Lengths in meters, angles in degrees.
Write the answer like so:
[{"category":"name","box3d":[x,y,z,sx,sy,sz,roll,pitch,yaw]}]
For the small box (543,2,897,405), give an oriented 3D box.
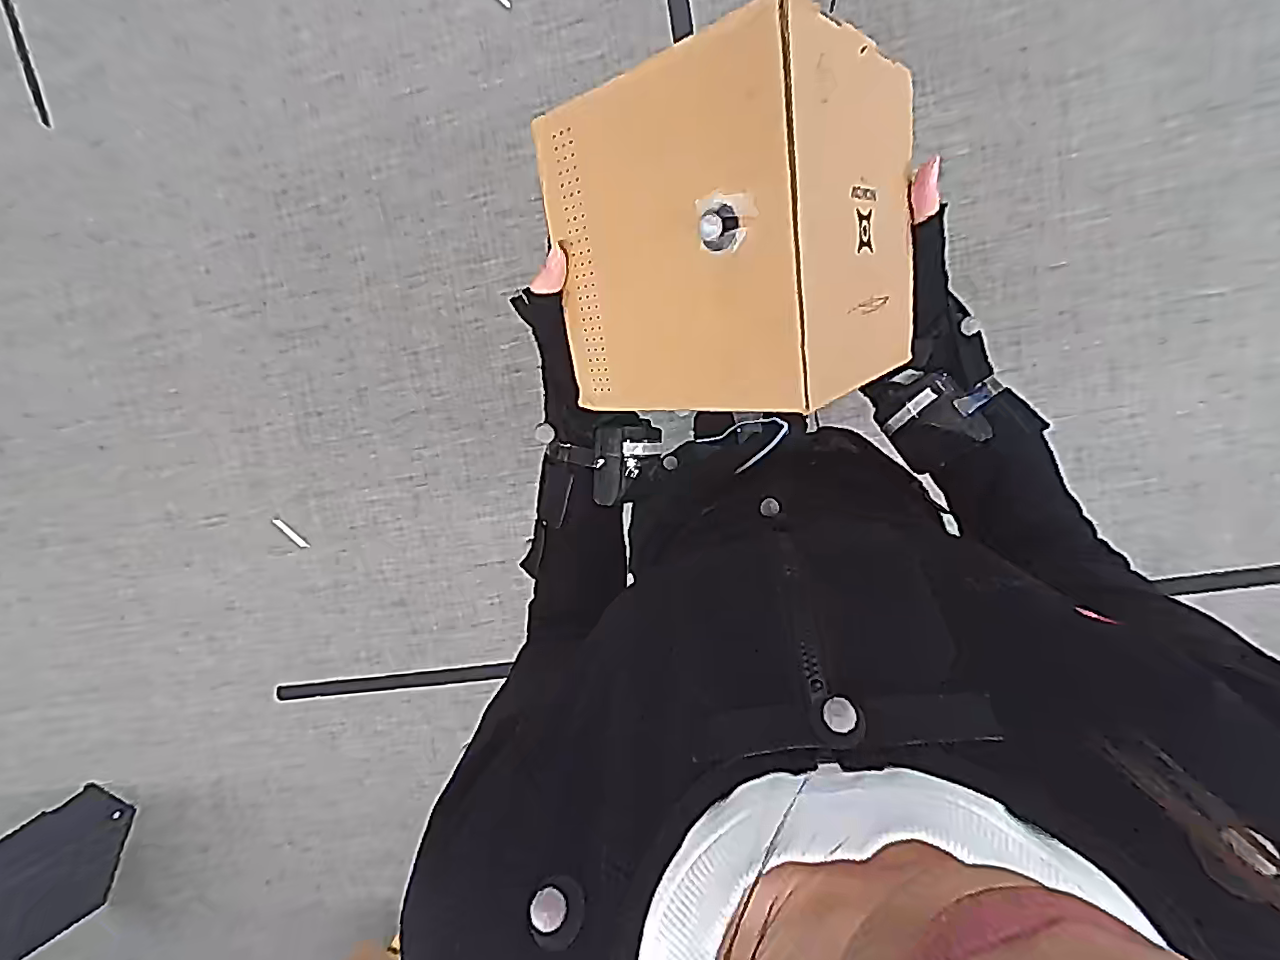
[{"category":"small box","box3d":[0.056,-0.151,0.360,0.176,0.168,0.179,6,112,41]}]
